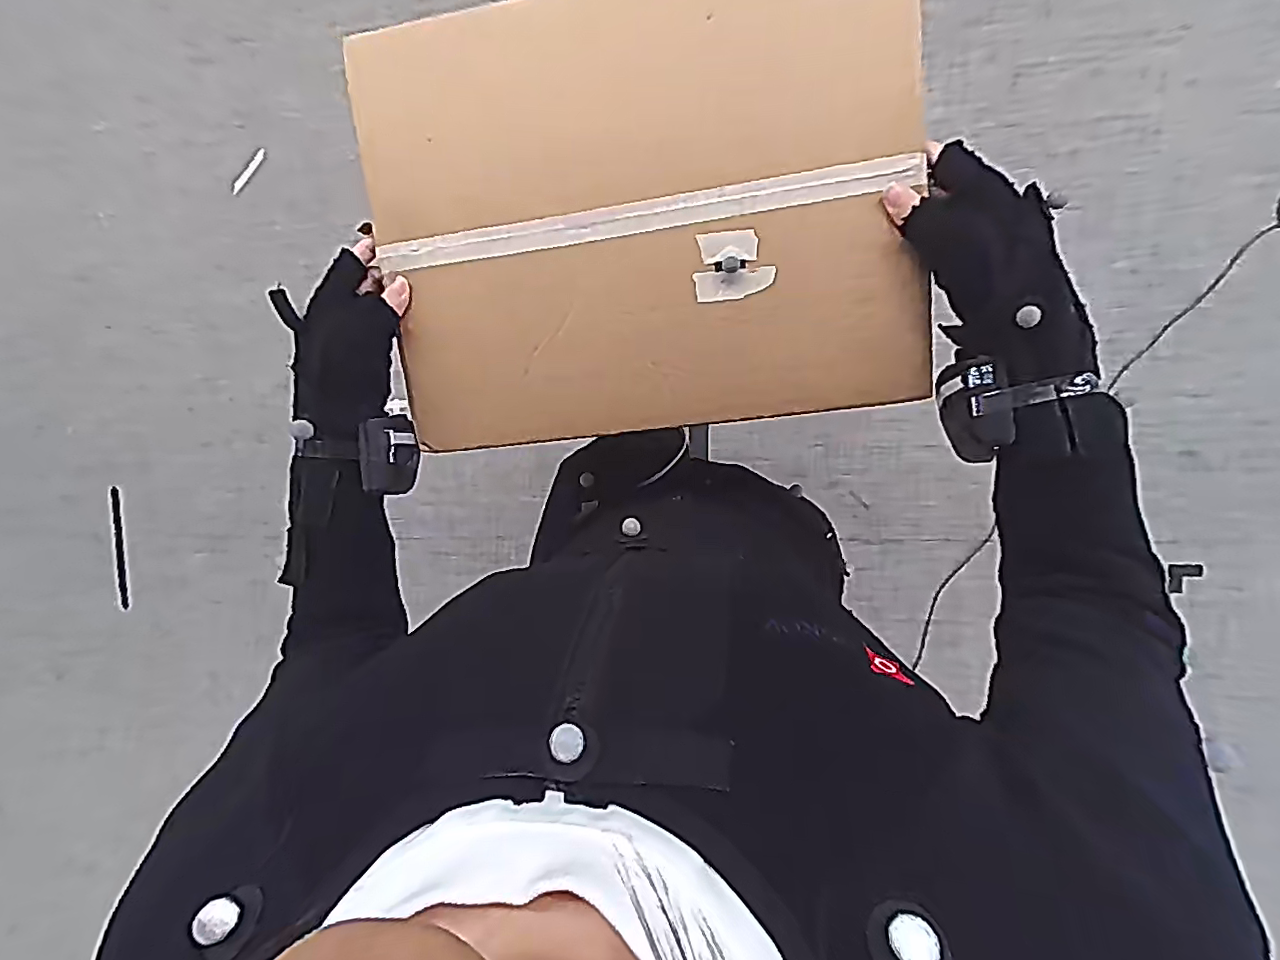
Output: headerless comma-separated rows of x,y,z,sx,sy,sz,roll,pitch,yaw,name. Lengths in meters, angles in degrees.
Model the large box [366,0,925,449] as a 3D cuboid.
0.016,-0.224,0.558,0.408,0.320,0.320,-6,100,7,large box
